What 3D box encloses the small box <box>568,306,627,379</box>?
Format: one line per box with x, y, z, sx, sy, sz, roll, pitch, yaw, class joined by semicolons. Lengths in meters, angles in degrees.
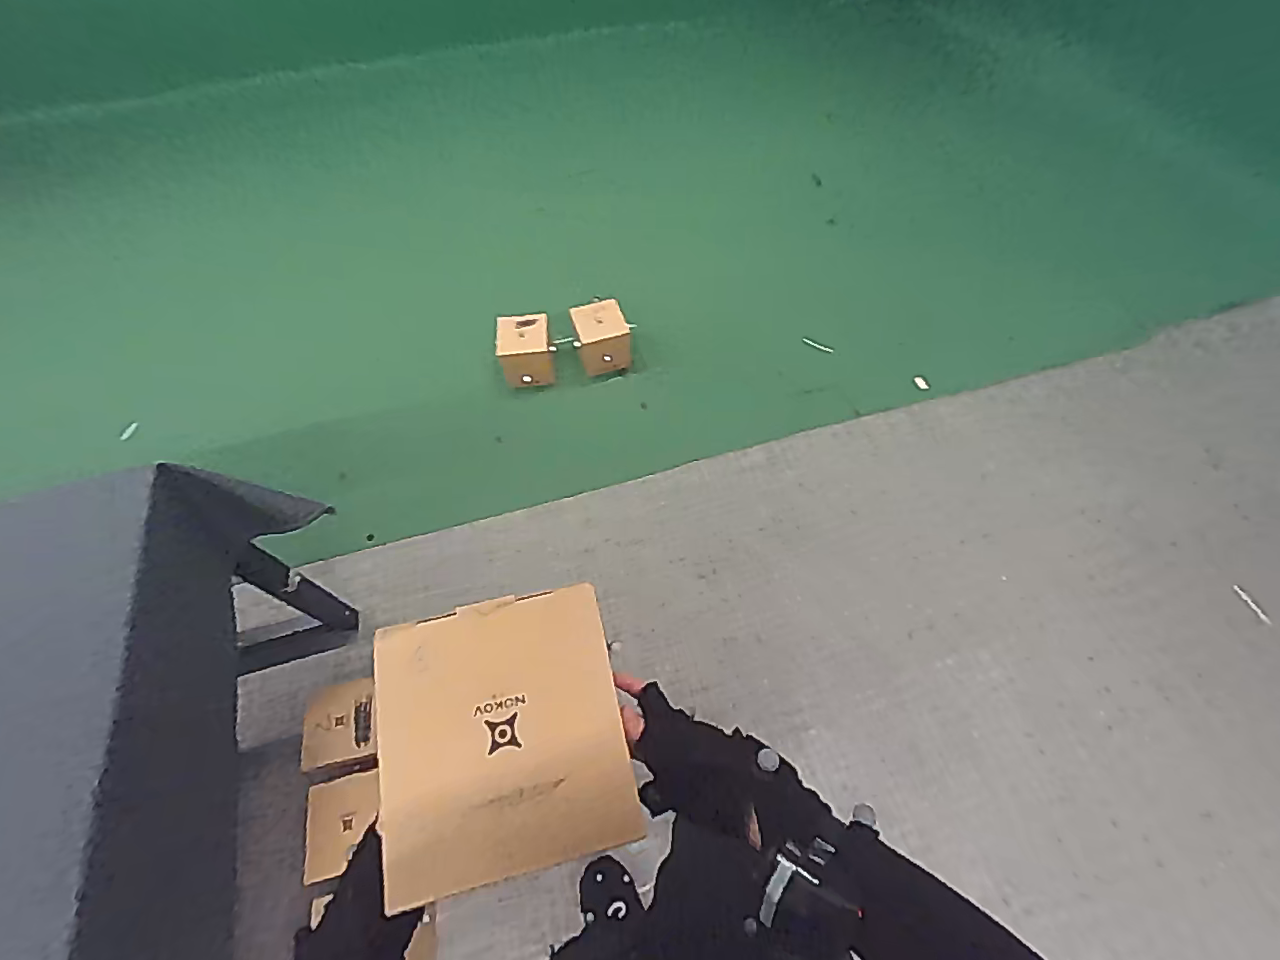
-0.146;-0.475;1.893;0.168;0.176;0.179;-15;60;-10;small box

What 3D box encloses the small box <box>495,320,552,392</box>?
-0.398;-0.426;1.865;0.168;0.176;0.179;-5;60;-2;small box

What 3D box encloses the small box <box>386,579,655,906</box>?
-0.092;0.198;0.437;0.168;0.176;0.179;-10;66;-8;small box
